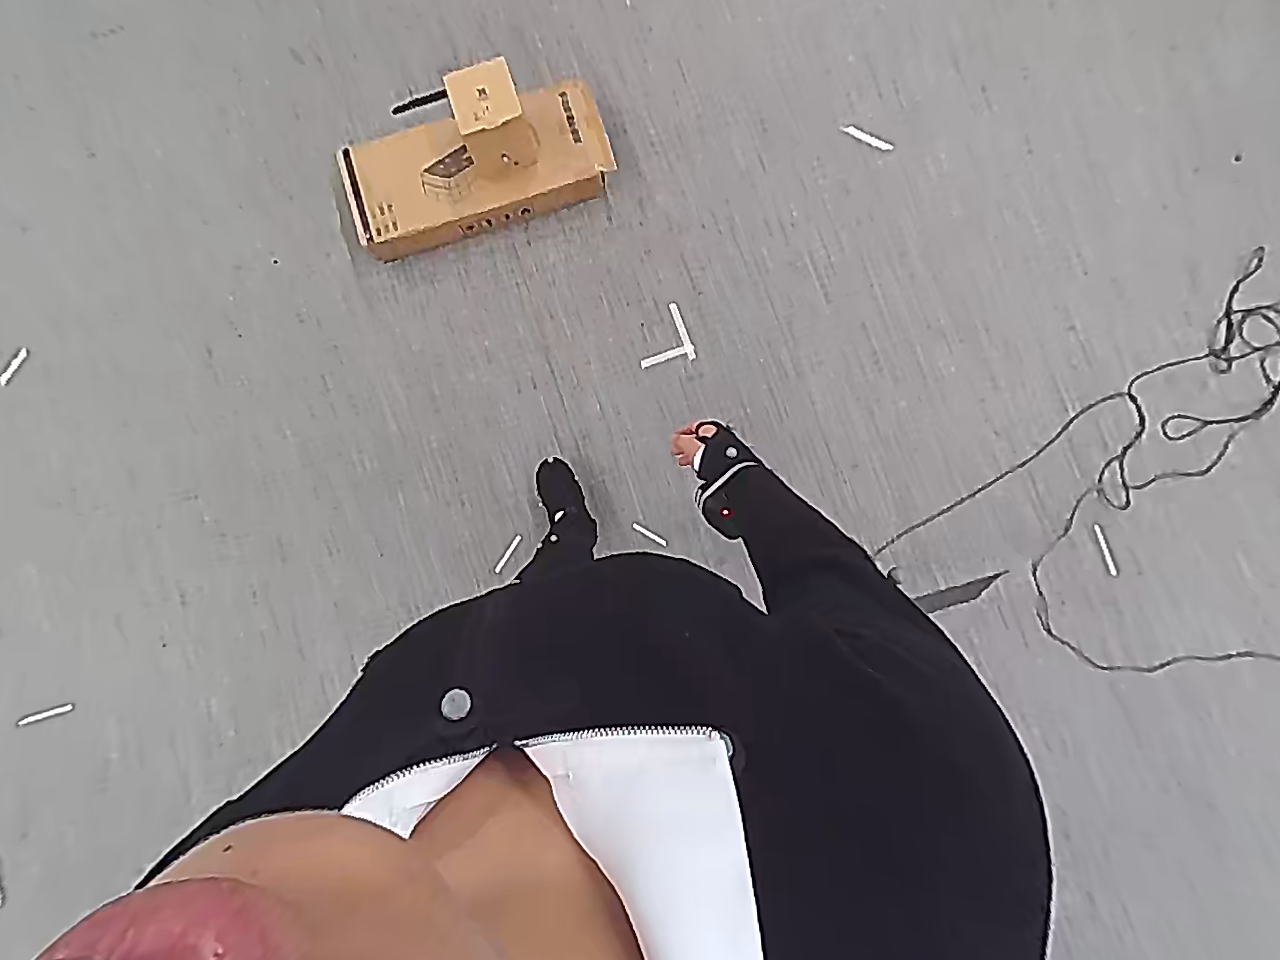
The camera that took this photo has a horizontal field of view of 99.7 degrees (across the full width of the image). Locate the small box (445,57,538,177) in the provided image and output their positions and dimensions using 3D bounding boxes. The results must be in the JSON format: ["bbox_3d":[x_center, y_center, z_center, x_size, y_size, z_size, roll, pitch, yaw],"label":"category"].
[{"bbox_3d":[-0.384,-0.946,1.422,0.168,0.176,0.179,-18,84,0],"label":"small box"}]
